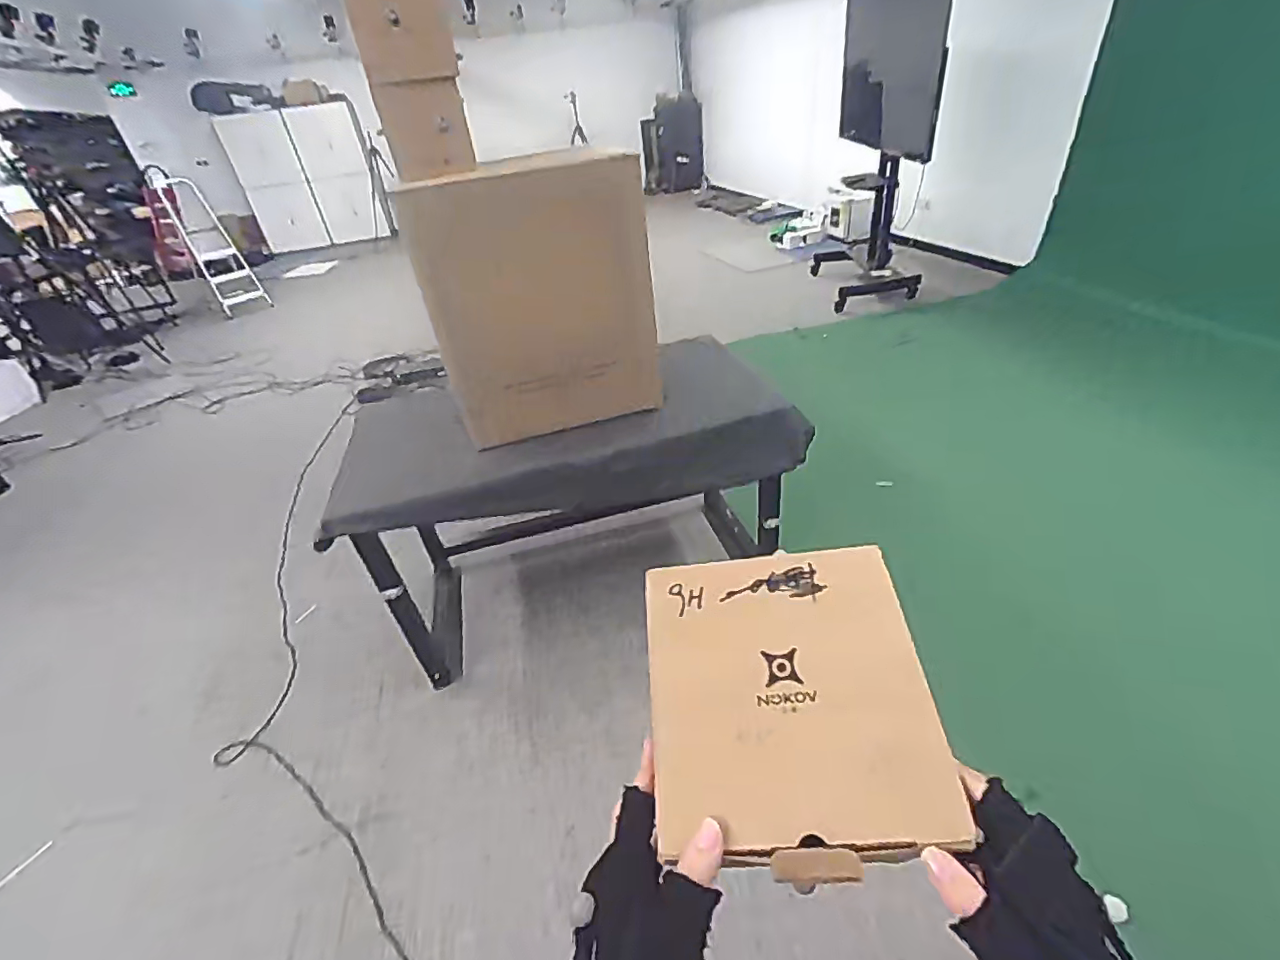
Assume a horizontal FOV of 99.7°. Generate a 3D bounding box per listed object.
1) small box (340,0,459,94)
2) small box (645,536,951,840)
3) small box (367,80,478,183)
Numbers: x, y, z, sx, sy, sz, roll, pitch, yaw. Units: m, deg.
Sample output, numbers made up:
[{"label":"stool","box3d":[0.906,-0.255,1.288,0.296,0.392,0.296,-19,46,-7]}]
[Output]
[{"label":"small box","box3d":[-0.462,-0.863,1.061,0.179,0.176,0.168,-16,38,-9]},{"label":"small box","box3d":[0.101,0.166,0.412,0.168,0.176,0.179,-8,54,7]},{"label":"small box","box3d":[-0.460,-0.748,1.155,0.168,0.176,0.179,-21,40,-16]}]
